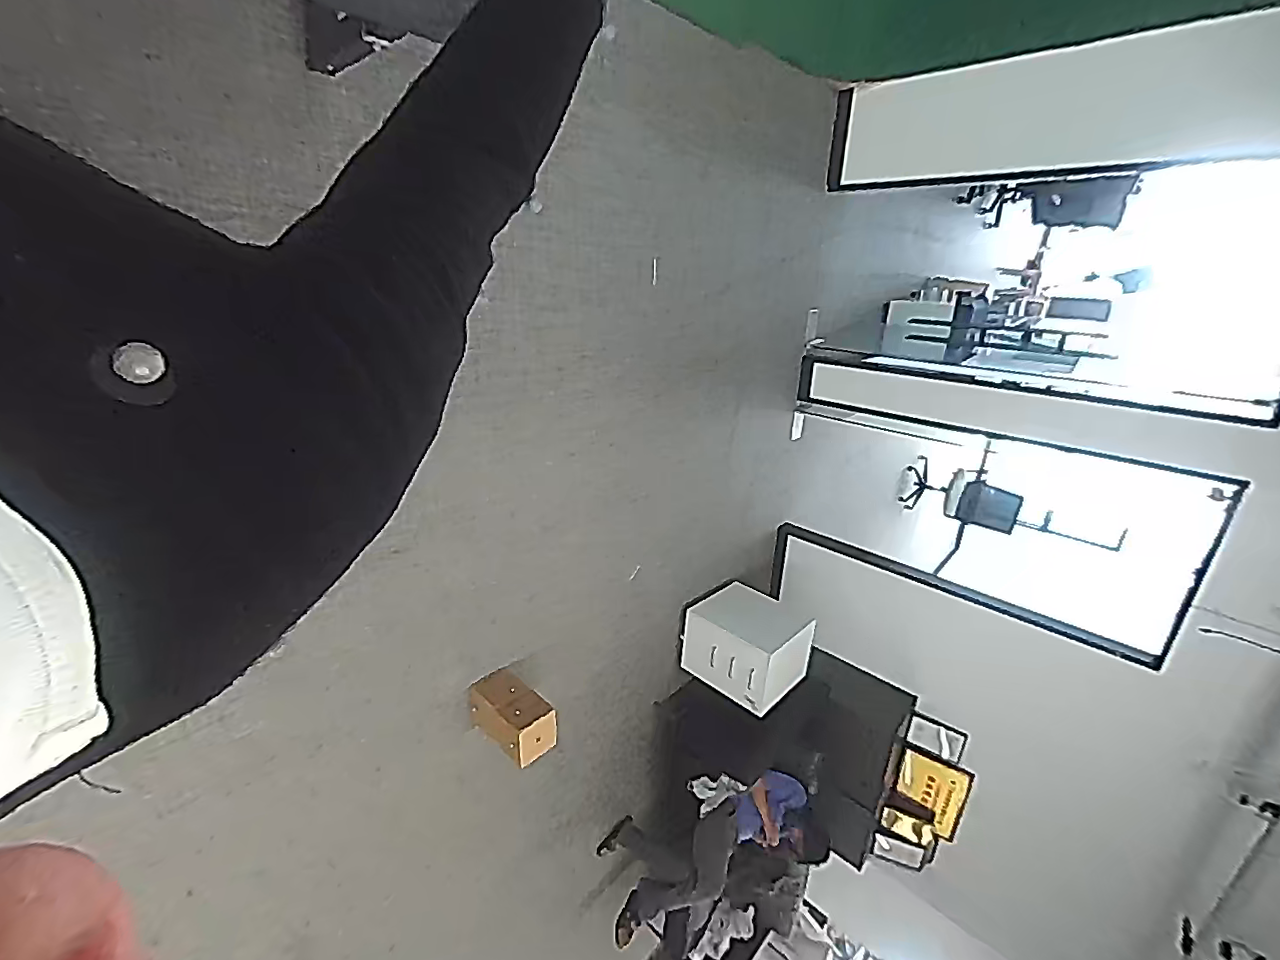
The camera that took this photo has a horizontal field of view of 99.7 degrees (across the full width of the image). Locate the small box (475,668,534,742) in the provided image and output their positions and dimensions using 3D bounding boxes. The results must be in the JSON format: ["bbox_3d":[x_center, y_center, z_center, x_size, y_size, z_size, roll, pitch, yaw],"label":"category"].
[{"bbox_3d":[-0.539,0.888,2.146,0.168,0.176,0.179,-18,119,-45],"label":"small box"}]

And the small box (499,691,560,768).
[{"bbox_3d":[-0.419,0.932,2.046,0.168,0.176,0.179,-20,121,-43],"label":"small box"}]
